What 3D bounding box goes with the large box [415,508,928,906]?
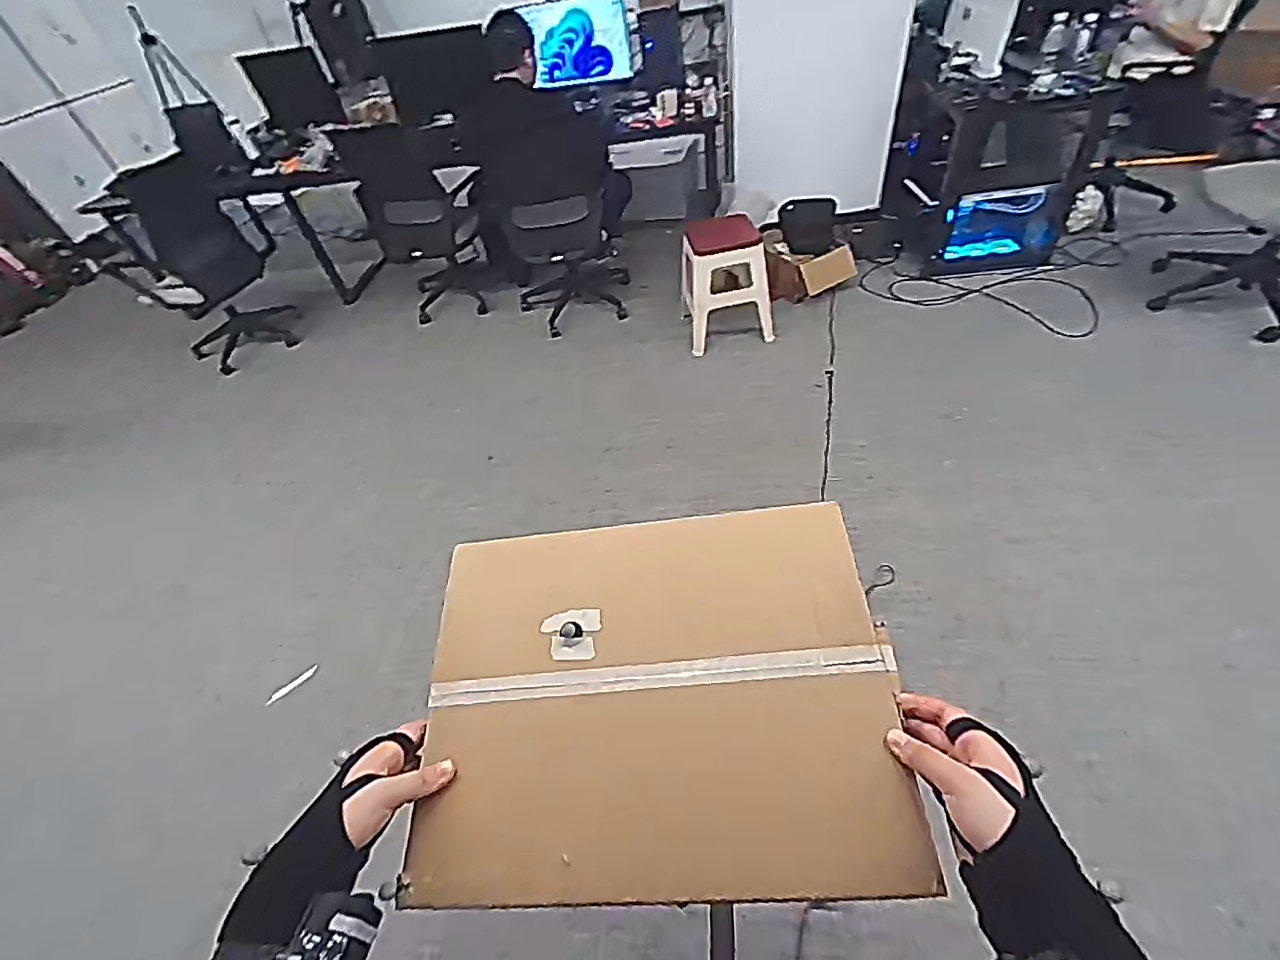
[{"bbox_3d":[0.035,0.263,0.610,0.408,0.320,0.320,-8,55,9],"label":"large box"}]
